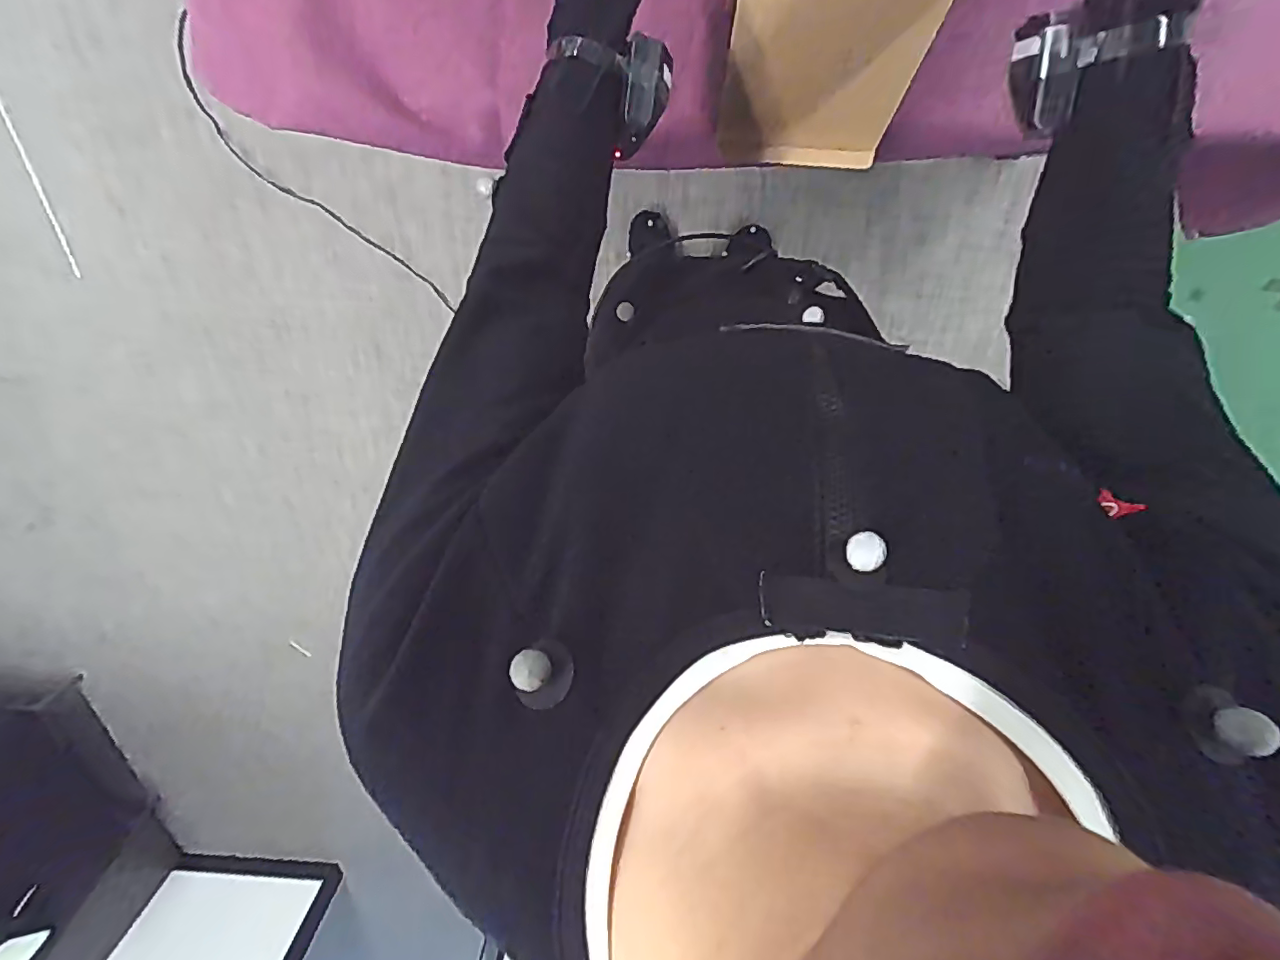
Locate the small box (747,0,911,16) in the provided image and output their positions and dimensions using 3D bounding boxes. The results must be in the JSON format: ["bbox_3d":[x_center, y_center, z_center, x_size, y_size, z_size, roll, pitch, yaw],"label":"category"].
[{"bbox_3d":[0.165,-0.484,0.409,0.168,0.176,0.179,5,117,2],"label":"small box"}]
